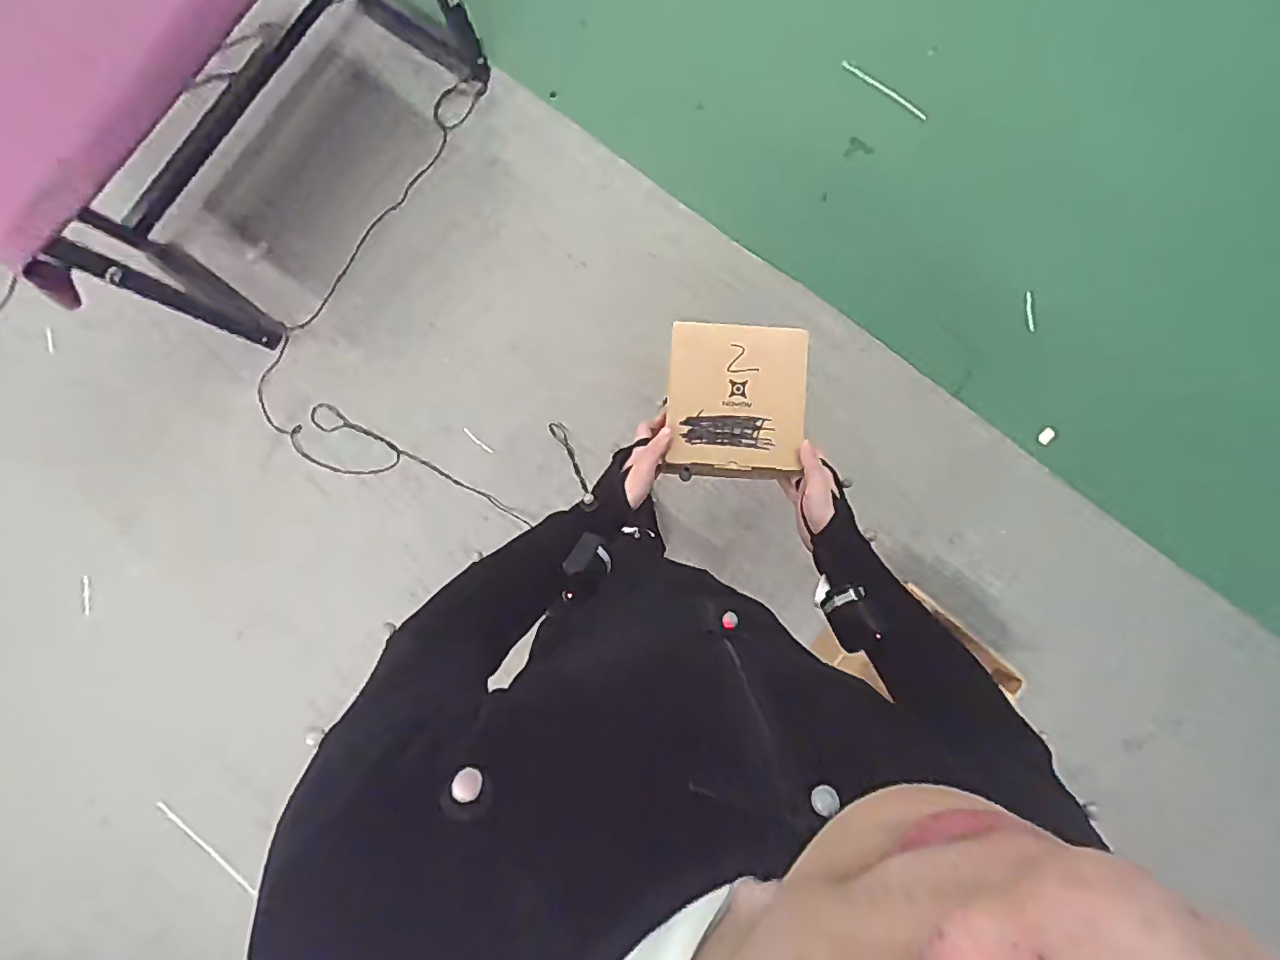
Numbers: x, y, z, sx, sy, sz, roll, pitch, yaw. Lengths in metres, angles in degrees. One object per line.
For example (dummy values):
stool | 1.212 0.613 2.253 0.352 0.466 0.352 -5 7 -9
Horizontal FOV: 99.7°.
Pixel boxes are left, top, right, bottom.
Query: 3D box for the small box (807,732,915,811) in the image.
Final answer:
small box | 0.524 0.737 1.272 0.179 0.176 0.168 44 91 7
